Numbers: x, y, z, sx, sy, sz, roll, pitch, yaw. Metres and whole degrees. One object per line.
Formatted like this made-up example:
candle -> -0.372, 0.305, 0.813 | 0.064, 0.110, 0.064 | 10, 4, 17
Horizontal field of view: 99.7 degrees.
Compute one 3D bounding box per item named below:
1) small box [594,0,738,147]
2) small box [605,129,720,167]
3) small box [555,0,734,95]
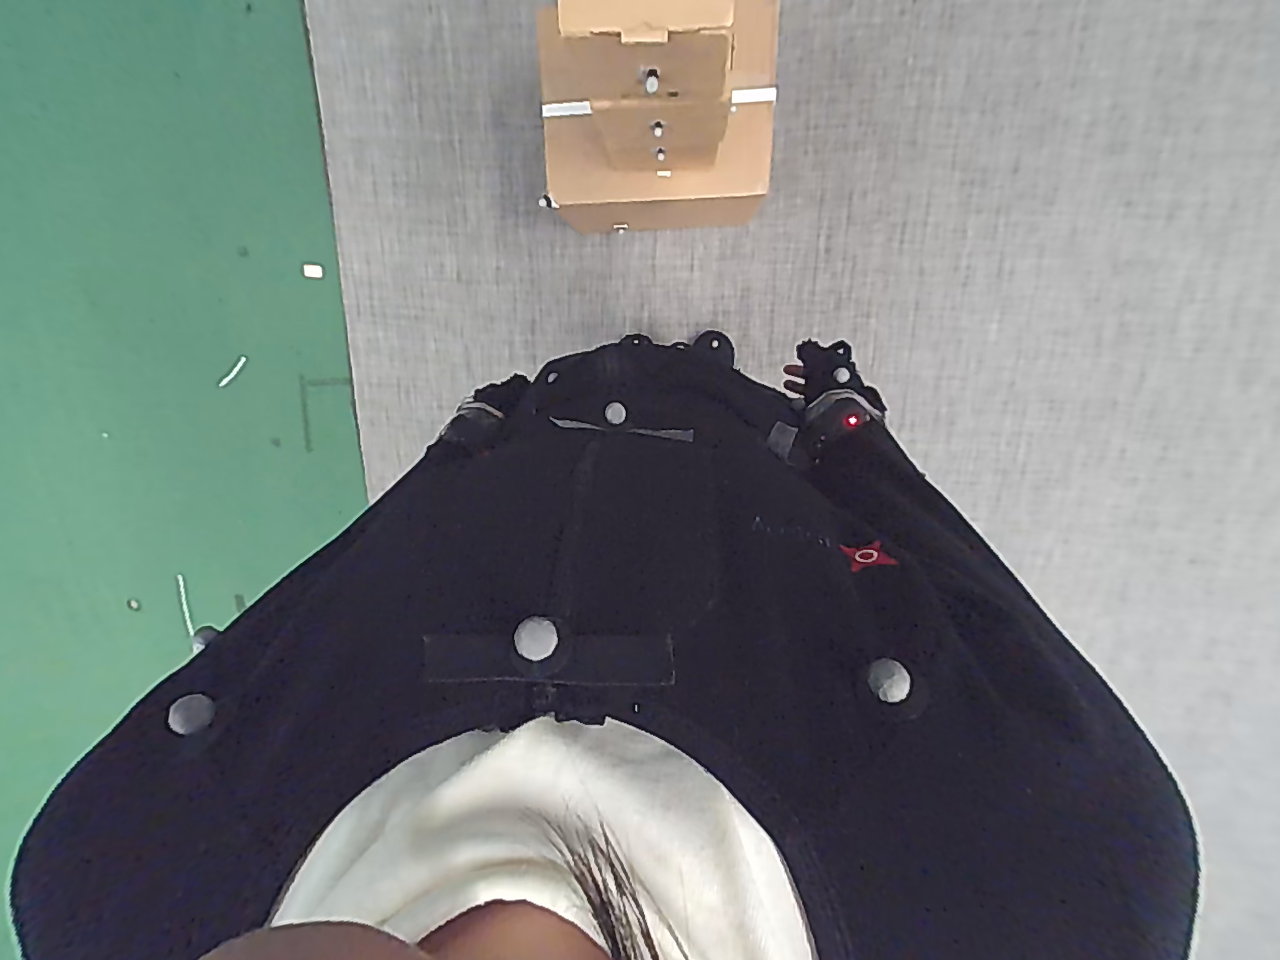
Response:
small box -> 0.033, -0.559, 0.712 | 0.179, 0.176, 0.168 | -2, 107, 6
small box -> 0.042, -0.613, 0.867 | 0.179, 0.176, 0.168 | 2, 108, 4
small box -> 0.015, -0.521, 0.553 | 0.168, 0.176, 0.179 | 4, 108, 6
